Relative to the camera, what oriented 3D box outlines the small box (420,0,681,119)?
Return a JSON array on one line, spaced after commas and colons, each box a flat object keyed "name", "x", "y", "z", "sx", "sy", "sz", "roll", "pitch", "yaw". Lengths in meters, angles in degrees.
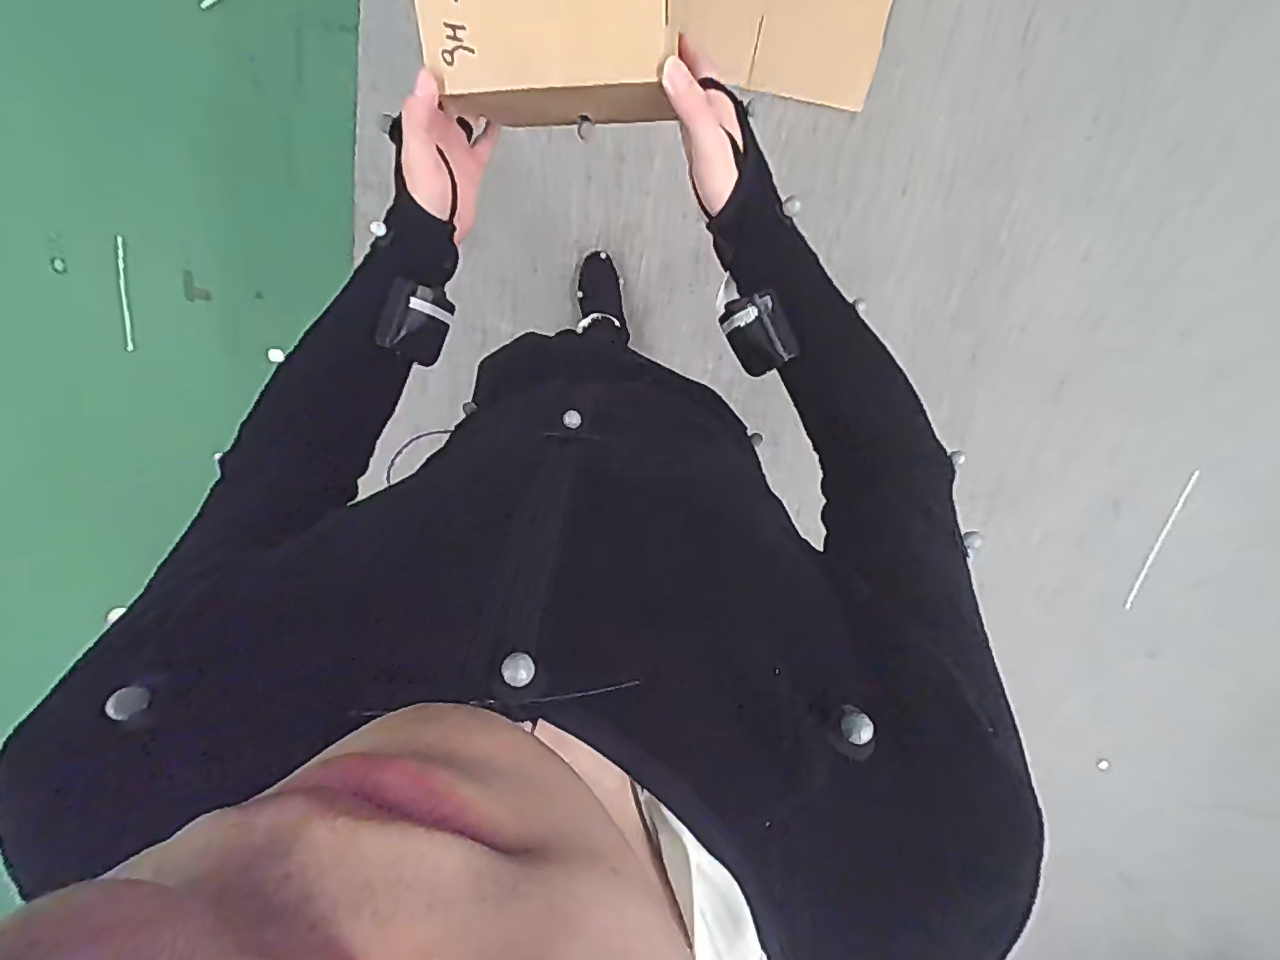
[{"name": "small box", "x": -0.056, "y": -0.388, "z": 0.413, "sx": 0.179, "sy": 0.176, "sz": 0.168, "roll": 1, "pitch": 115, "yaw": 6}]
